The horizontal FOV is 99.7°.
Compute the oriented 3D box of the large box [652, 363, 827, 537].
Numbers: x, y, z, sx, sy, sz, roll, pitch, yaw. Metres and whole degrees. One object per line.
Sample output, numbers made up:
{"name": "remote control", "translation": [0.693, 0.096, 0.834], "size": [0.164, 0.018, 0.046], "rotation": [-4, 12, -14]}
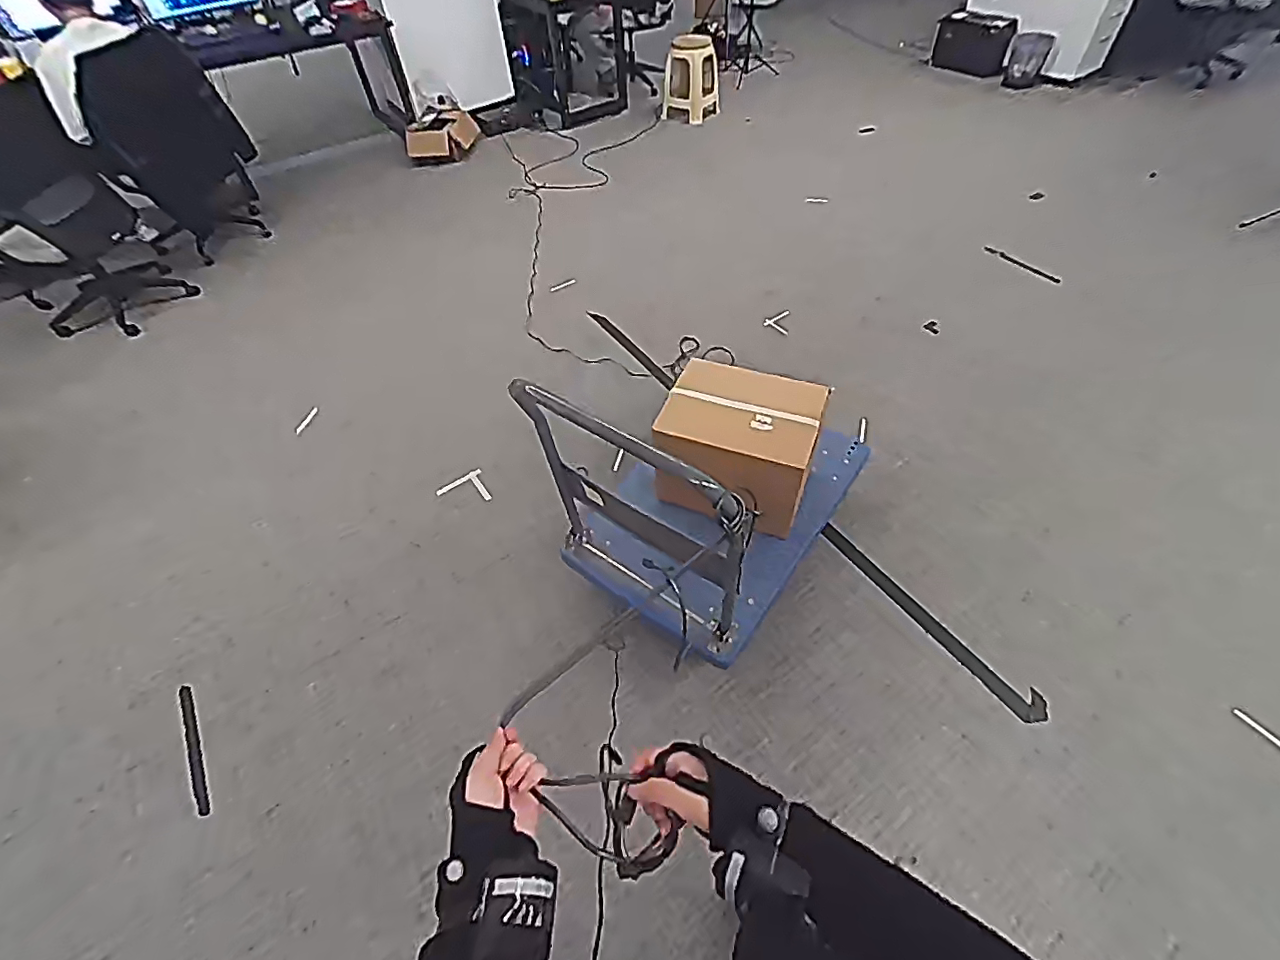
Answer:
{"name": "large box", "translation": [0.275, -0.087, 1.548], "size": [0.408, 0.320, 0.320], "rotation": [16, 55, 17]}
